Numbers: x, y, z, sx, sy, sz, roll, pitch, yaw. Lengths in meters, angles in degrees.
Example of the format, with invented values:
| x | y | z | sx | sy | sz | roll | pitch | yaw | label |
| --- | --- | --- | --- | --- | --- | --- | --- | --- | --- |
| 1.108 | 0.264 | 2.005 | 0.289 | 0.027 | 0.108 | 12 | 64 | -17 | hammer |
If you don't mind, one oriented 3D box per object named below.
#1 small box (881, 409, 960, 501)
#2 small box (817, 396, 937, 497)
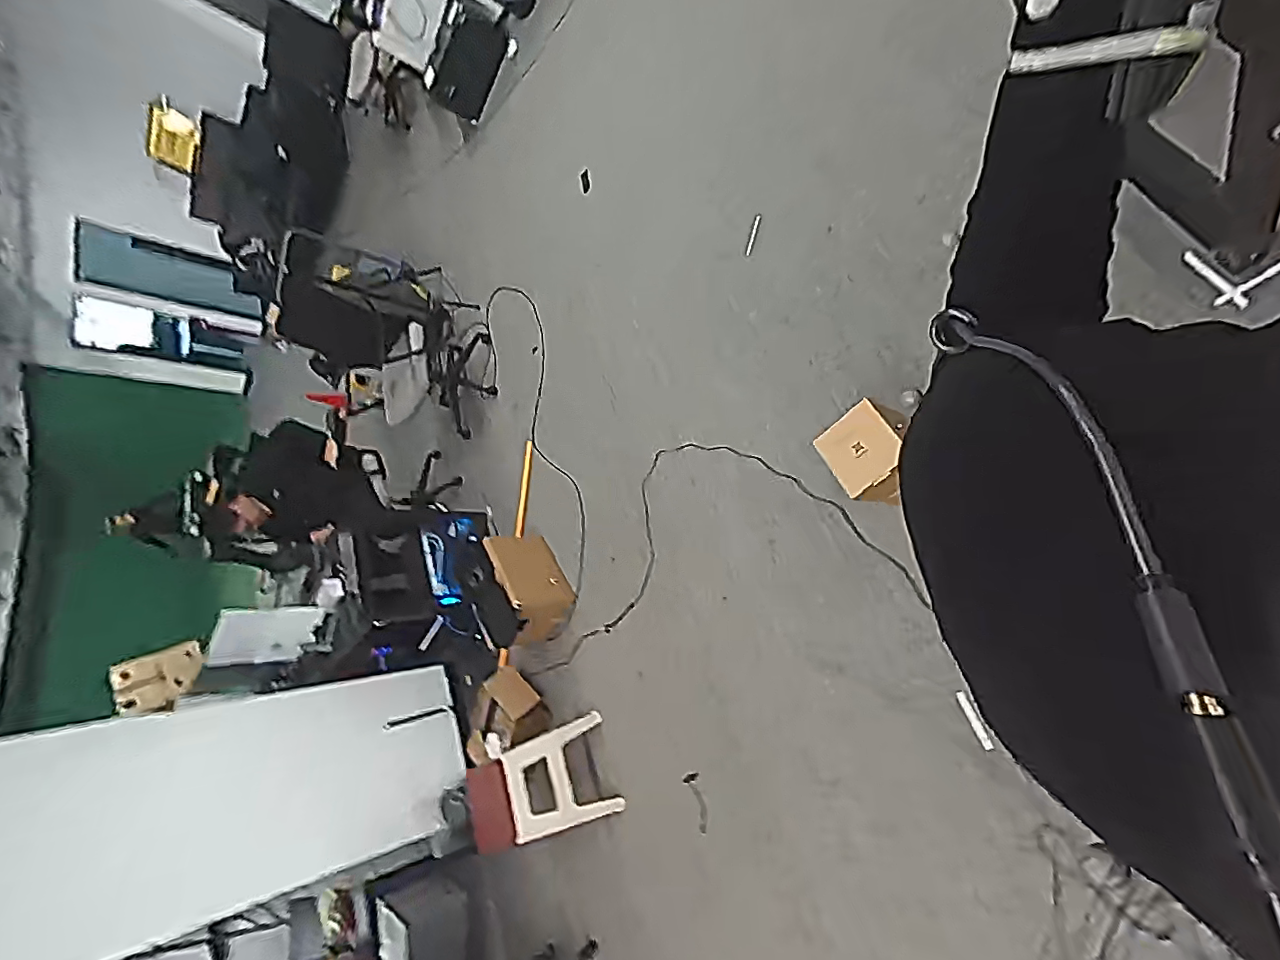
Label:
| x | y | z | sx | sy | sz | roll | pitch | yaw | label |
| --- | --- | --- | --- | --- | --- | --- | --- | --- | --- |
| 0.687 | -0.058 | 1.404 | 0.168 | 0.176 | 0.179 | -44 | 58 | 34 | small box |
| 0.569 | -0.073 | 1.293 | 0.168 | 0.176 | 0.179 | -46 | 55 | 32 | small box |
